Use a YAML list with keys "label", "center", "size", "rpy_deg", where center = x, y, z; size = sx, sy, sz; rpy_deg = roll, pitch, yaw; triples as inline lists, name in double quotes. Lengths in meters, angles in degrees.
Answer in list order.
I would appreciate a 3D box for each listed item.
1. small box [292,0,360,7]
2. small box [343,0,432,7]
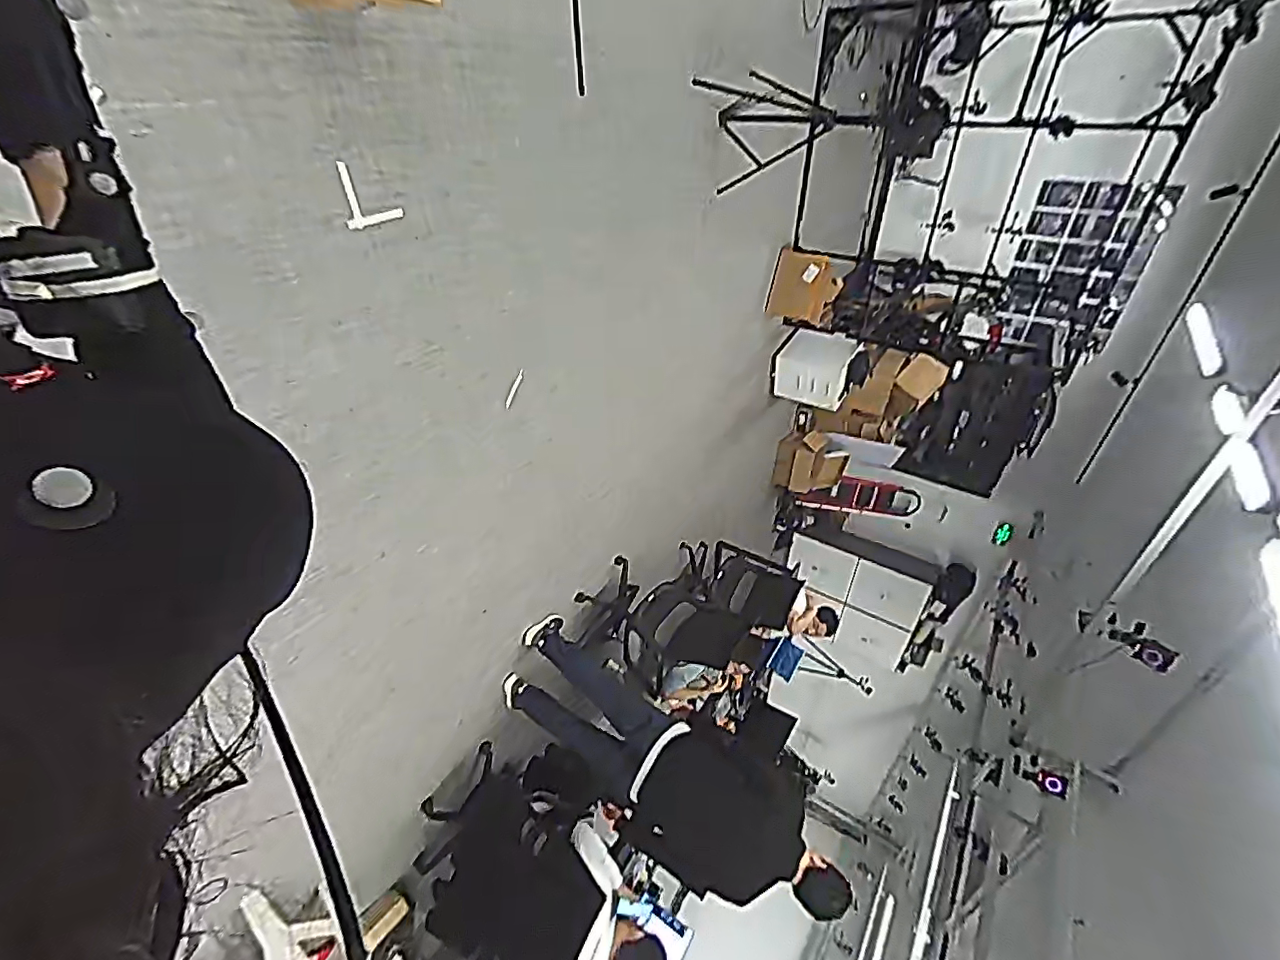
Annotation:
- label: "small box"
  center: [-0.685, -1.140, 1.163]
  size: [0.168, 0.176, 0.179]
  rpy_deg: [-45, 144, -40]
- label: "small box"
  center: [-0.556, -1.074, 1.086]
  size: [0.179, 0.176, 0.168]
  rpy_deg: [-40, 142, -46]
